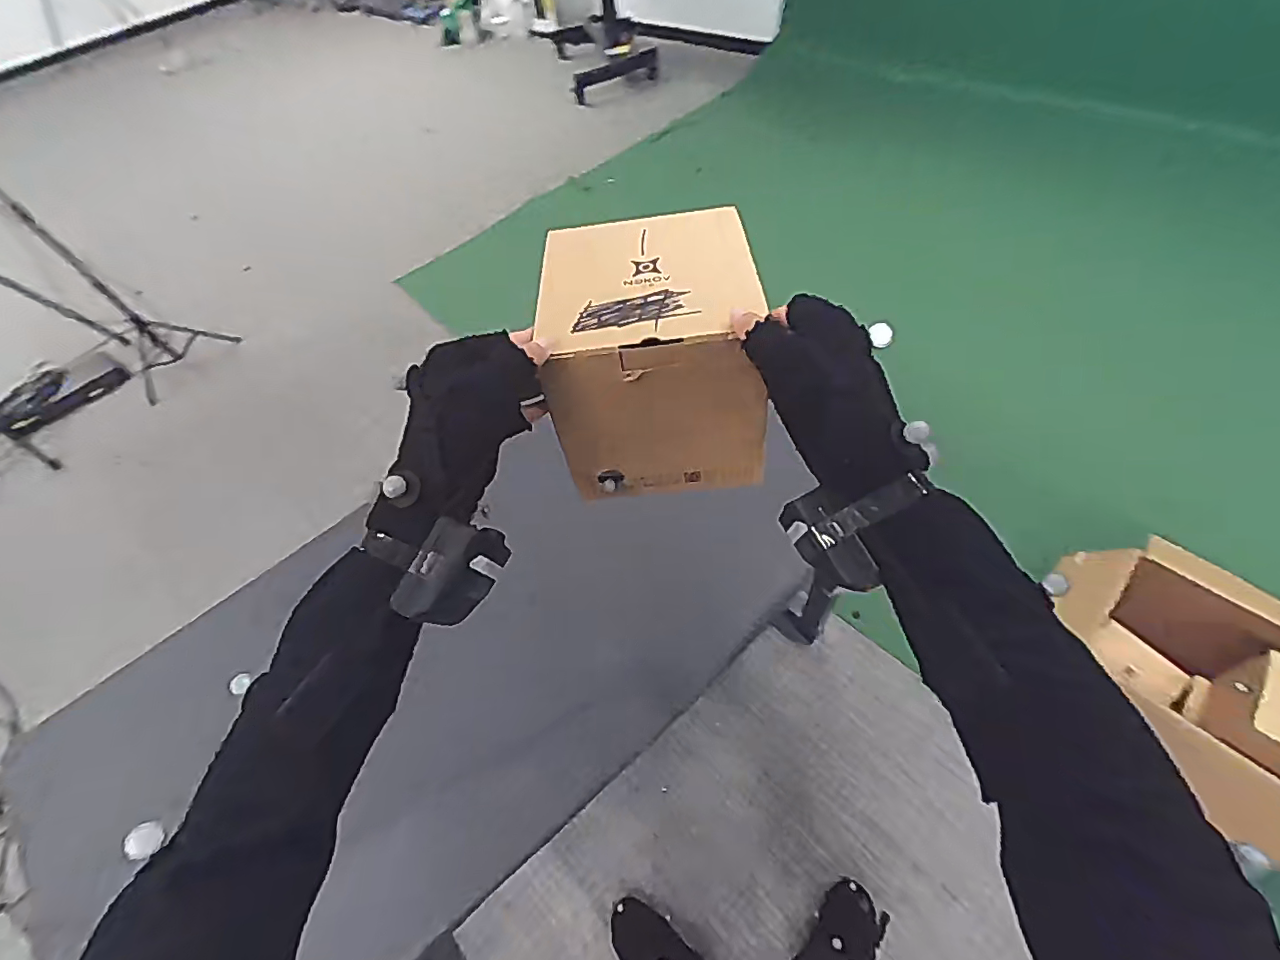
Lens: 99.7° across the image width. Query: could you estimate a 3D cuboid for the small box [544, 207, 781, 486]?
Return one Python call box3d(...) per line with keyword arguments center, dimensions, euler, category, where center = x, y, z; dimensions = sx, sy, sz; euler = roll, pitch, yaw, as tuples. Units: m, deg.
box3d(center=(0.023, -0.107, 0.474), dimensions=(0.168, 0.176, 0.179), euler=(-5, 51, 4), category="small box")
